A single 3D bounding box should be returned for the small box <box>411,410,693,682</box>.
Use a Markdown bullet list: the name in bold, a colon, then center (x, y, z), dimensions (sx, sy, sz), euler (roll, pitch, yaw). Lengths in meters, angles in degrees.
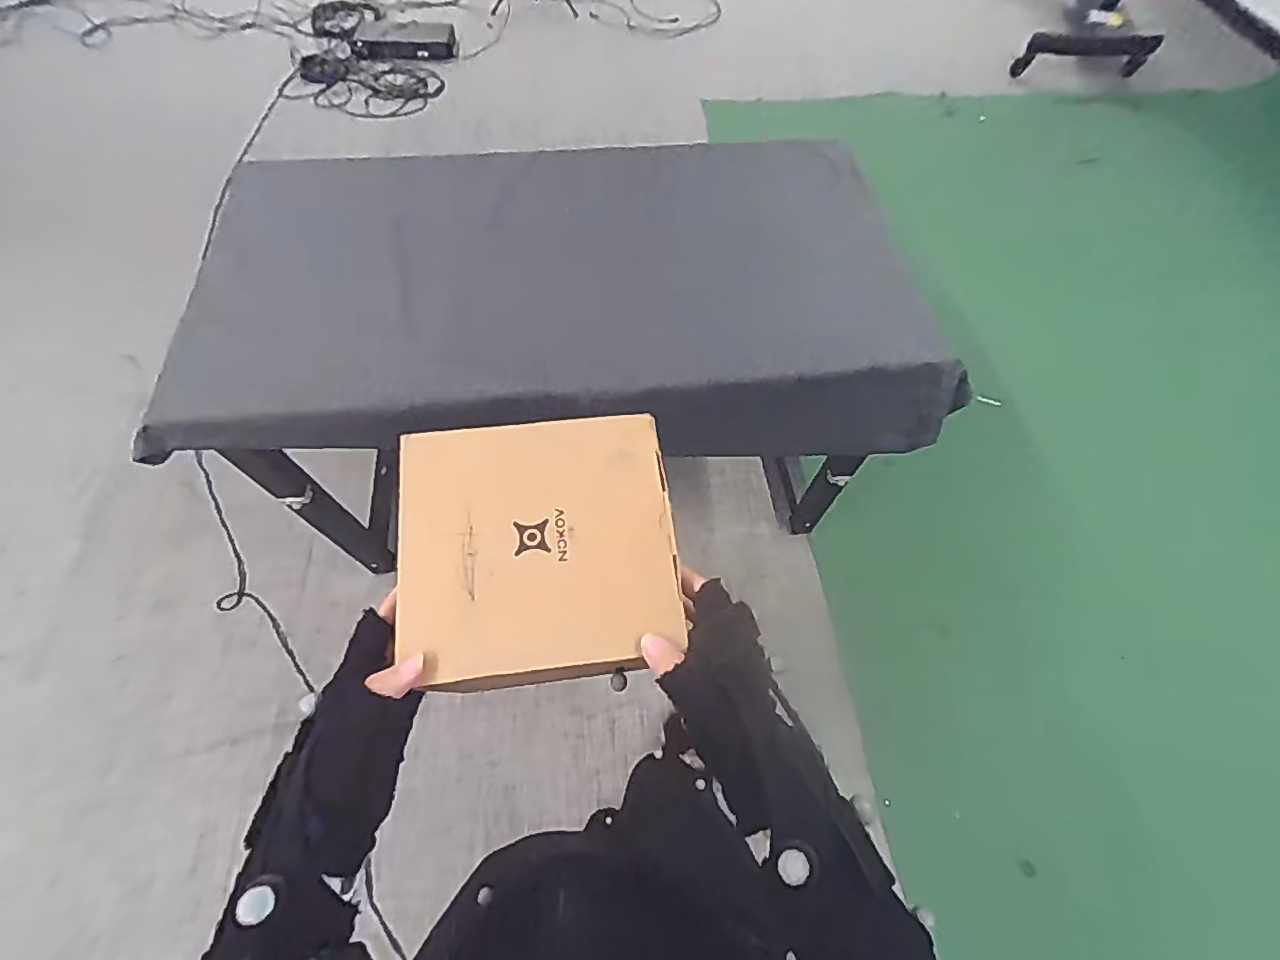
- **small box**: center (-0.067, 0.063, 0.434), dimensions (0.179, 0.176, 0.168), euler (-8, 68, -6)
